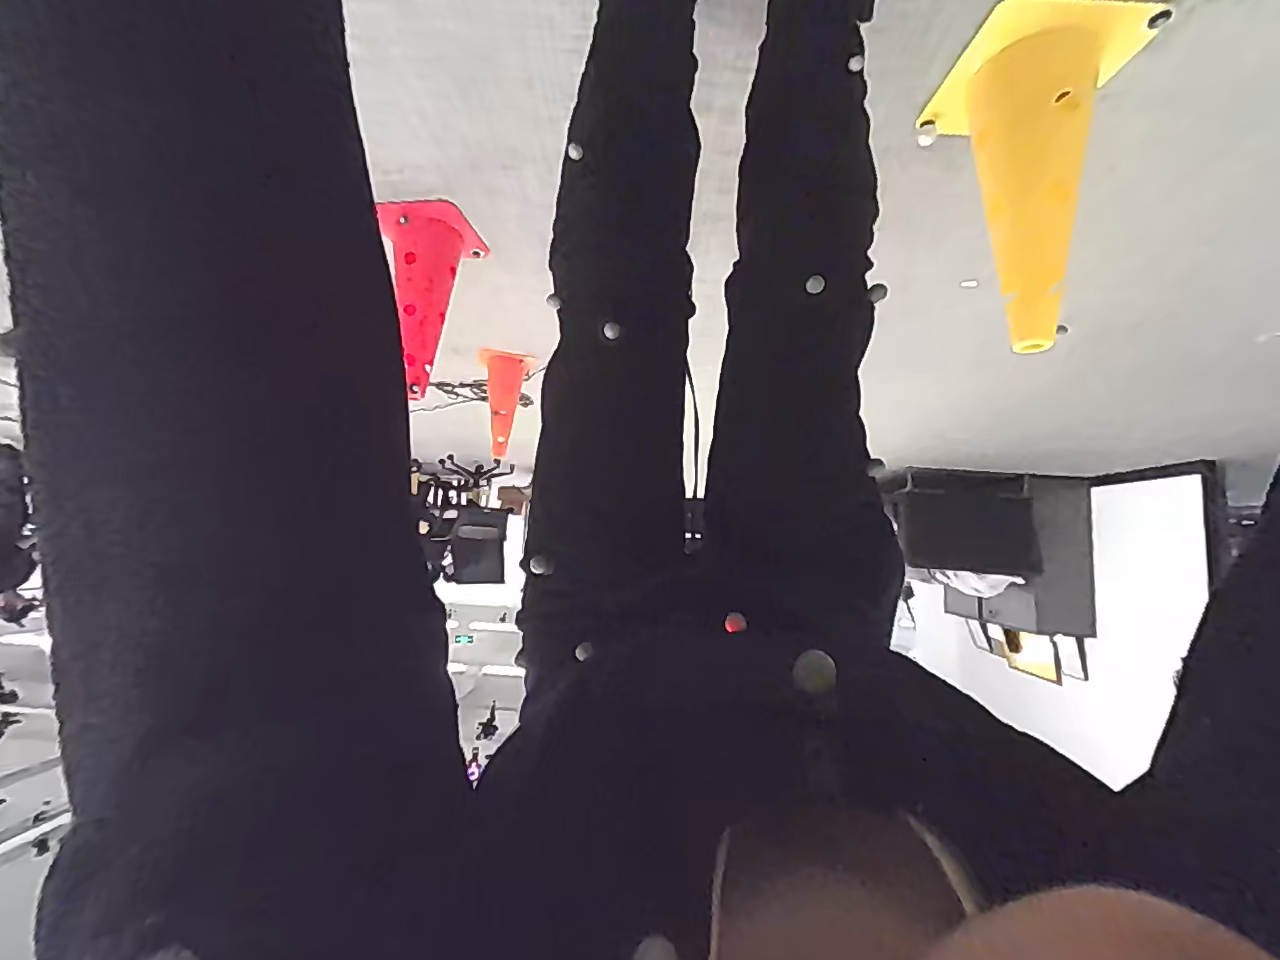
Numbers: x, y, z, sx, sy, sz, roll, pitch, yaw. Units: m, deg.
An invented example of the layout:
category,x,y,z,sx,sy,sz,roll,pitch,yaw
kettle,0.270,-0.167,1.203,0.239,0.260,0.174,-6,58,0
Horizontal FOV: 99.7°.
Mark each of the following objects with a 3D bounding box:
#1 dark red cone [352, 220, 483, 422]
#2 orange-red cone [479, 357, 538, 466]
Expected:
category,x,y,z,sx,sy,sz,roll,pitch,yaw
dark red cone,-0.458,-0.308,1.080,0.202,0.394,0.201,2,170,10
orange-red cone,-0.487,-0.227,1.911,0.199,0.360,0.198,7,171,-17
